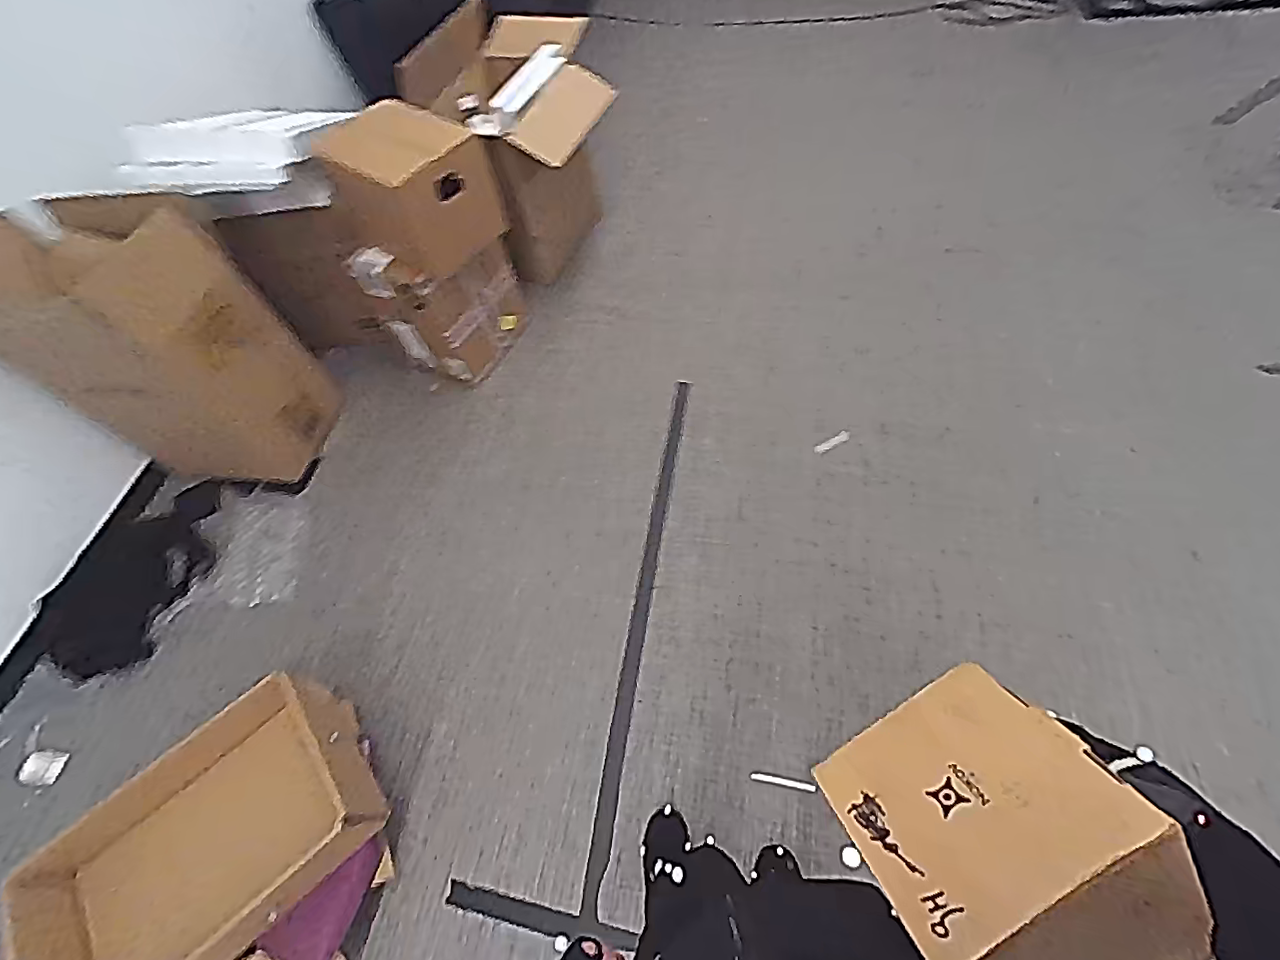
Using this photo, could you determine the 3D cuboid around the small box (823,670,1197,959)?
[{"bbox_3d":[0.290,0.302,0.440,0.179,0.176,0.168,-34,20,2],"label":"small box"}]
